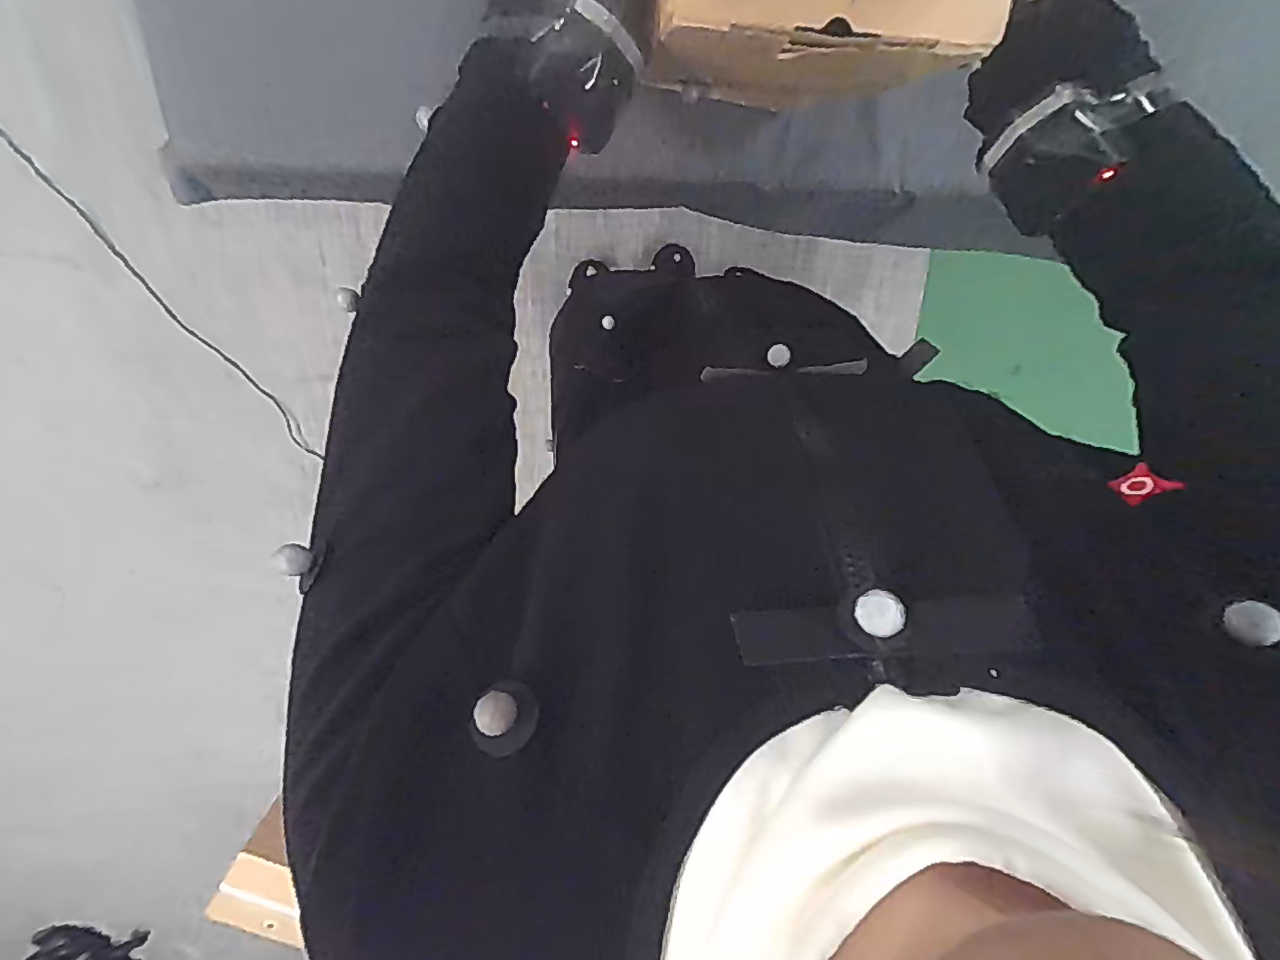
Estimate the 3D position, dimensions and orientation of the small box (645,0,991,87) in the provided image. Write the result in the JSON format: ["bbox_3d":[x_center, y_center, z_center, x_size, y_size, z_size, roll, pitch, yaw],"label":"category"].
[{"bbox_3d":[0.090,-0.334,0.299,0.168,0.176,0.179,-1,119,-3],"label":"small box"}]
